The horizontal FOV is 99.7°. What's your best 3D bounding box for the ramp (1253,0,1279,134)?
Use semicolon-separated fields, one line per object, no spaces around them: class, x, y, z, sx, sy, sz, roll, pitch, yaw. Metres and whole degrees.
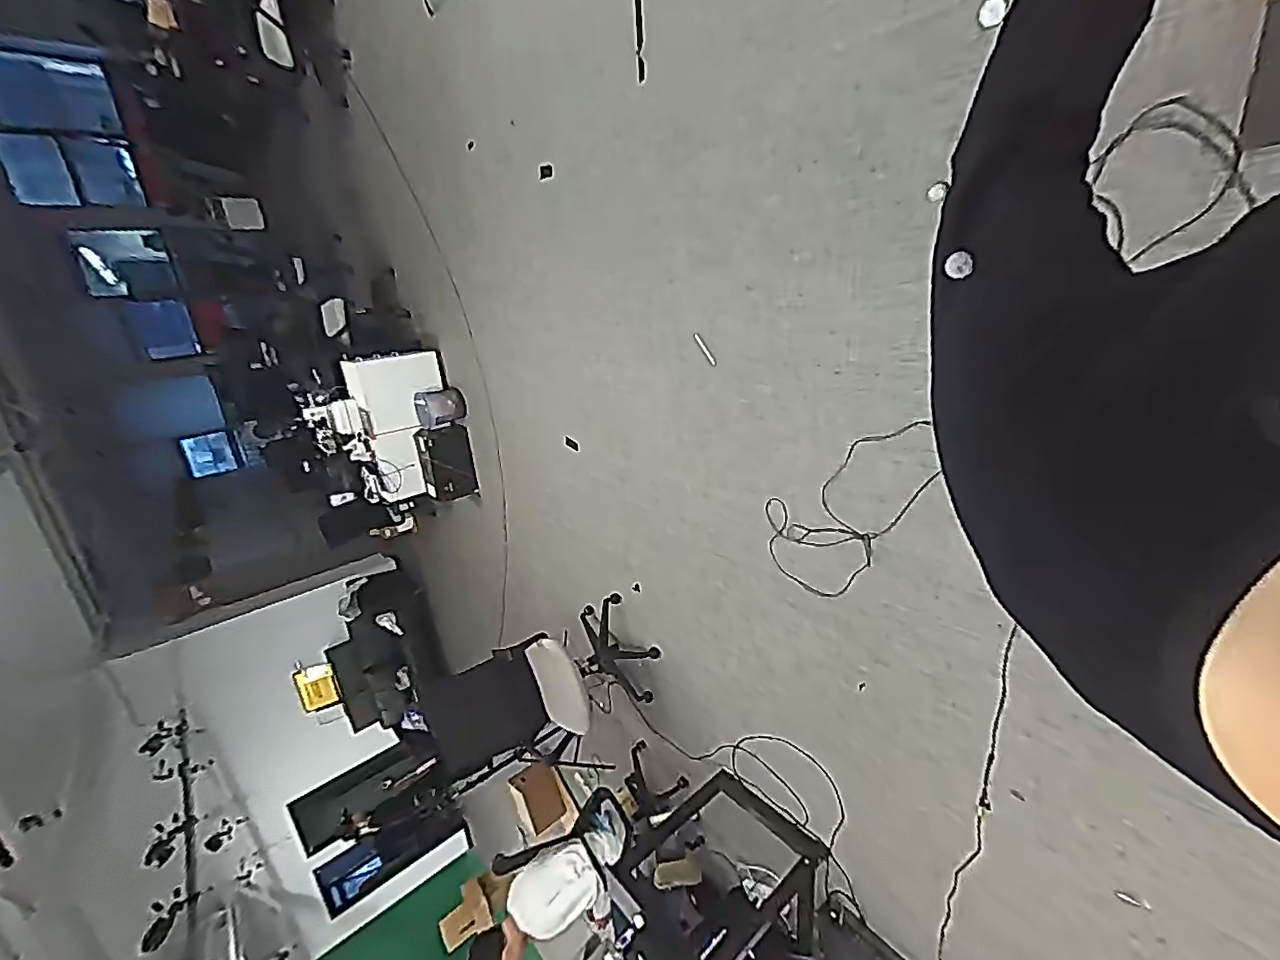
ramp;1.093;-0.980;0.537;0.509;0.206;0.991;14;118;48
